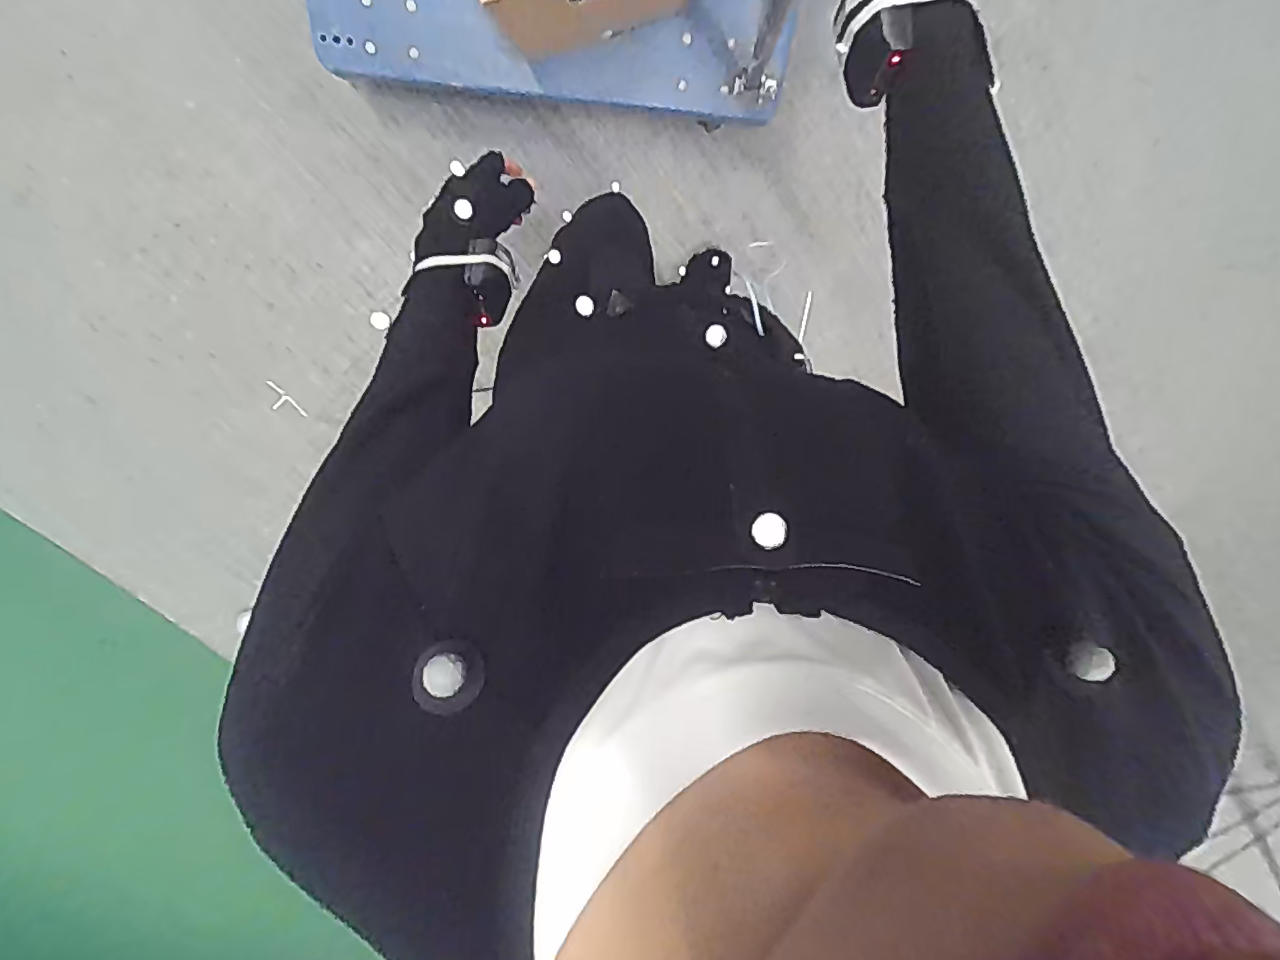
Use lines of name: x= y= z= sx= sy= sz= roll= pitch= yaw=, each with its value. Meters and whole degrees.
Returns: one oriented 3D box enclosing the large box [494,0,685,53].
large box: x=-0.111 y=-0.921 z=0.757 sx=0.320 sy=0.320 sz=0.408 roll=-13 pitch=116 yaw=8
